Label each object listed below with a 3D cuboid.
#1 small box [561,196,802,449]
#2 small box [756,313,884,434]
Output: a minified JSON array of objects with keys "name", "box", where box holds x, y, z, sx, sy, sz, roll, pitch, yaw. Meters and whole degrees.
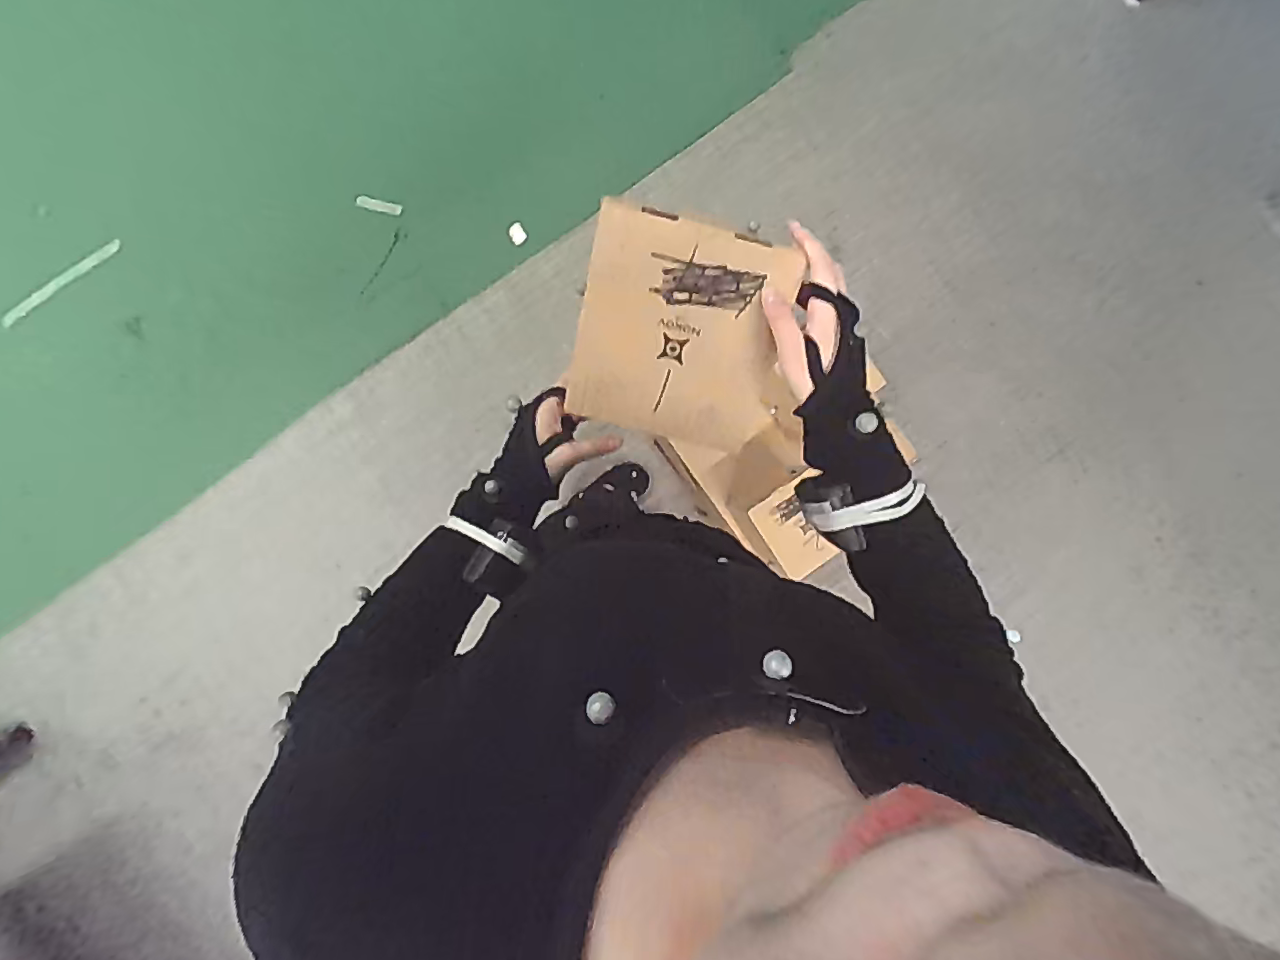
[{"name":"small box","box":[0.031,-0.156,0.516,0.168,0.176,0.179,13,117,-3]},{"name":"small box","box":[0.364,-0.216,1.143,0.179,0.176,0.168,-36,91,-6]}]
